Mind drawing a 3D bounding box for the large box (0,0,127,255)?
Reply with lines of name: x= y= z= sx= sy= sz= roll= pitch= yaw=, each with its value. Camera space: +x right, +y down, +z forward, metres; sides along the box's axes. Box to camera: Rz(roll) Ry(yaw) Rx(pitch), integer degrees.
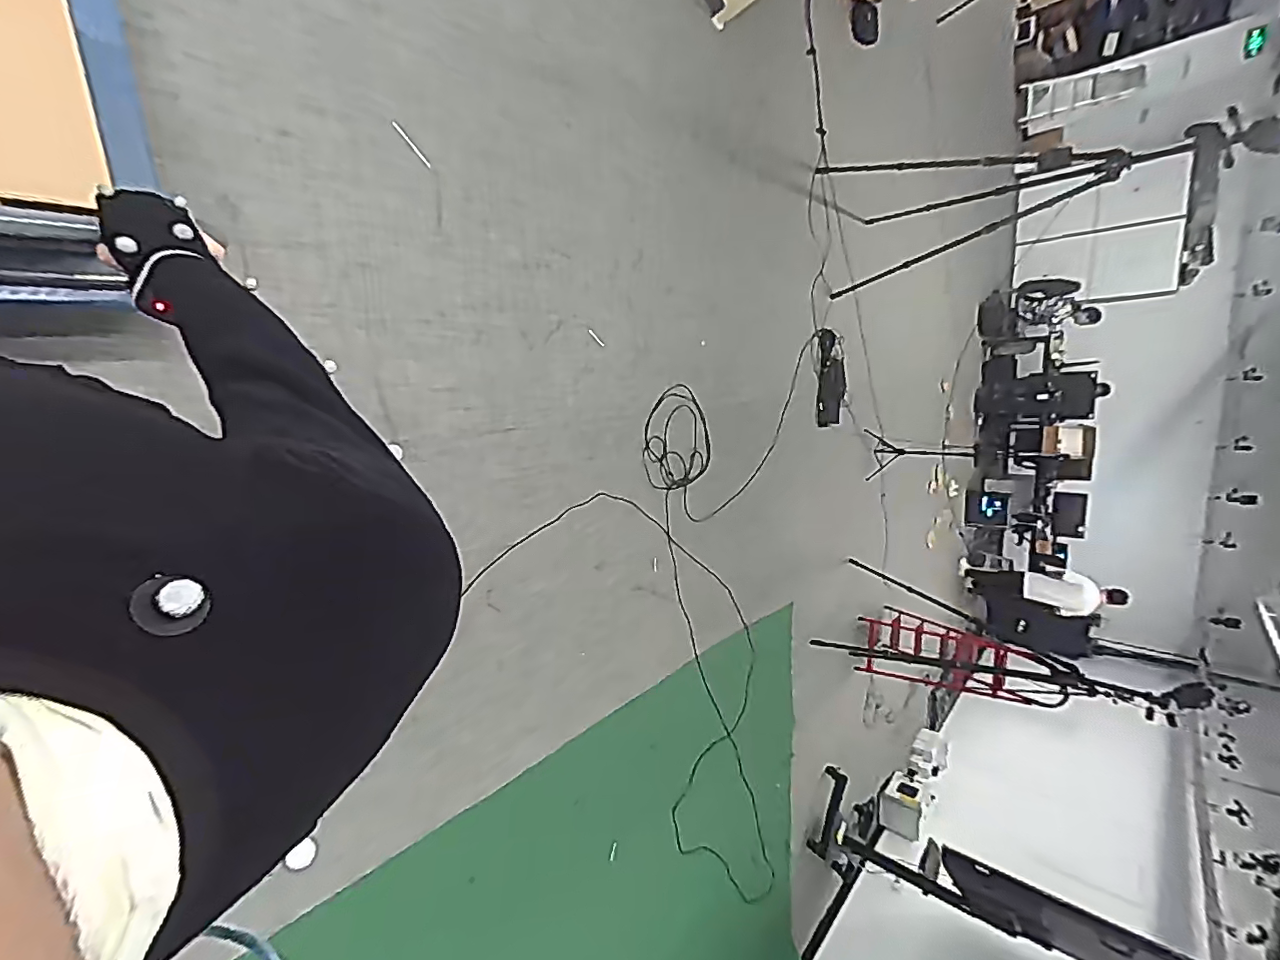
large box: x=-1.027 y=-0.581 z=0.796 sx=0.320 sy=0.320 sz=0.408 roll=-17 pitch=105 yaw=-45
